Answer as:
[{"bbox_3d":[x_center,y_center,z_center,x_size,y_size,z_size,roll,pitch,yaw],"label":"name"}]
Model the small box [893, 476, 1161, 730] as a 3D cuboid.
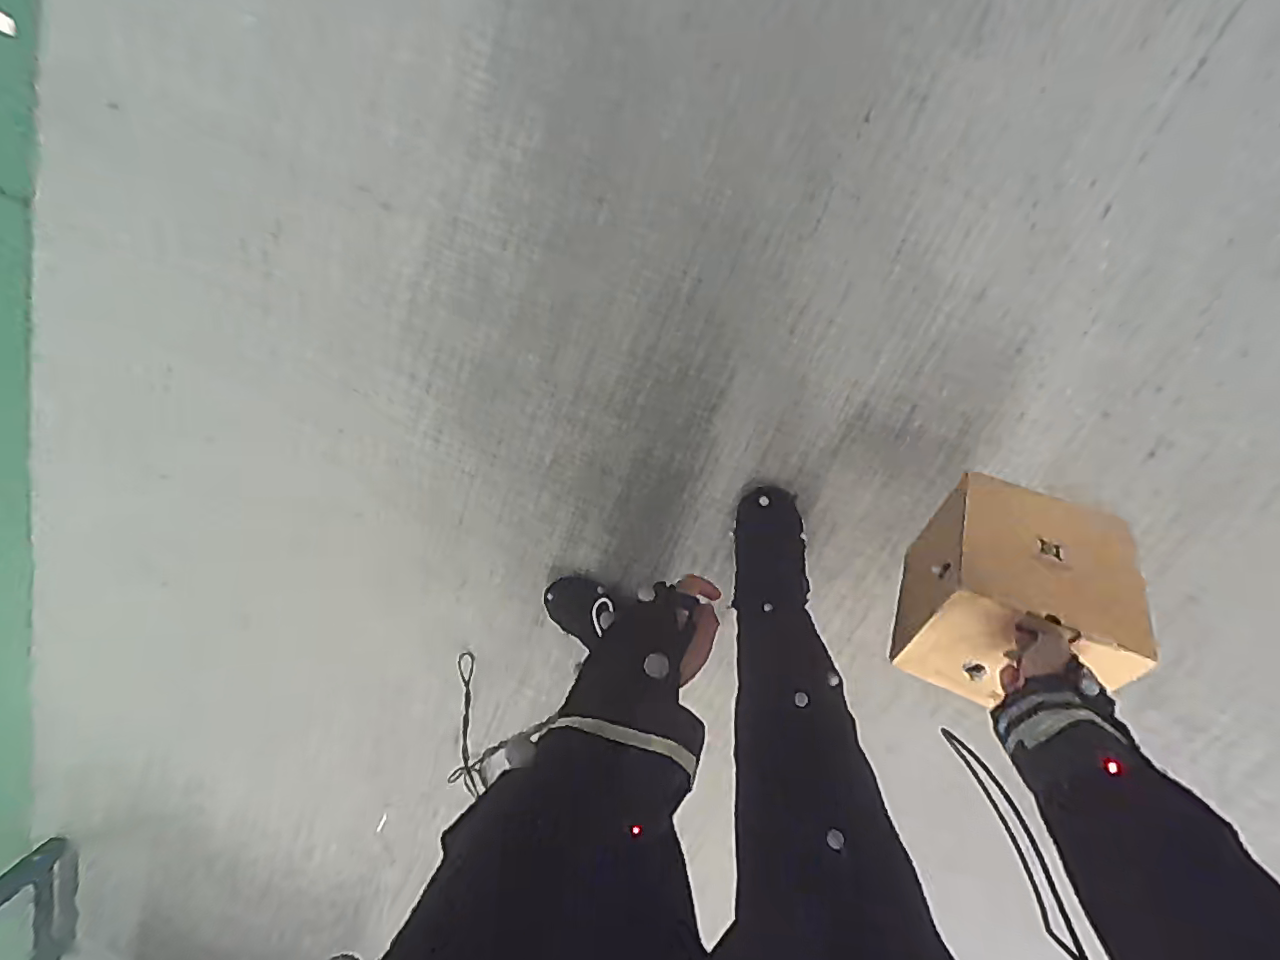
[{"bbox_3d":[0.396,0.133,0.584,0.168,0.179,0.176,21,142,14],"label":"small box"}]
